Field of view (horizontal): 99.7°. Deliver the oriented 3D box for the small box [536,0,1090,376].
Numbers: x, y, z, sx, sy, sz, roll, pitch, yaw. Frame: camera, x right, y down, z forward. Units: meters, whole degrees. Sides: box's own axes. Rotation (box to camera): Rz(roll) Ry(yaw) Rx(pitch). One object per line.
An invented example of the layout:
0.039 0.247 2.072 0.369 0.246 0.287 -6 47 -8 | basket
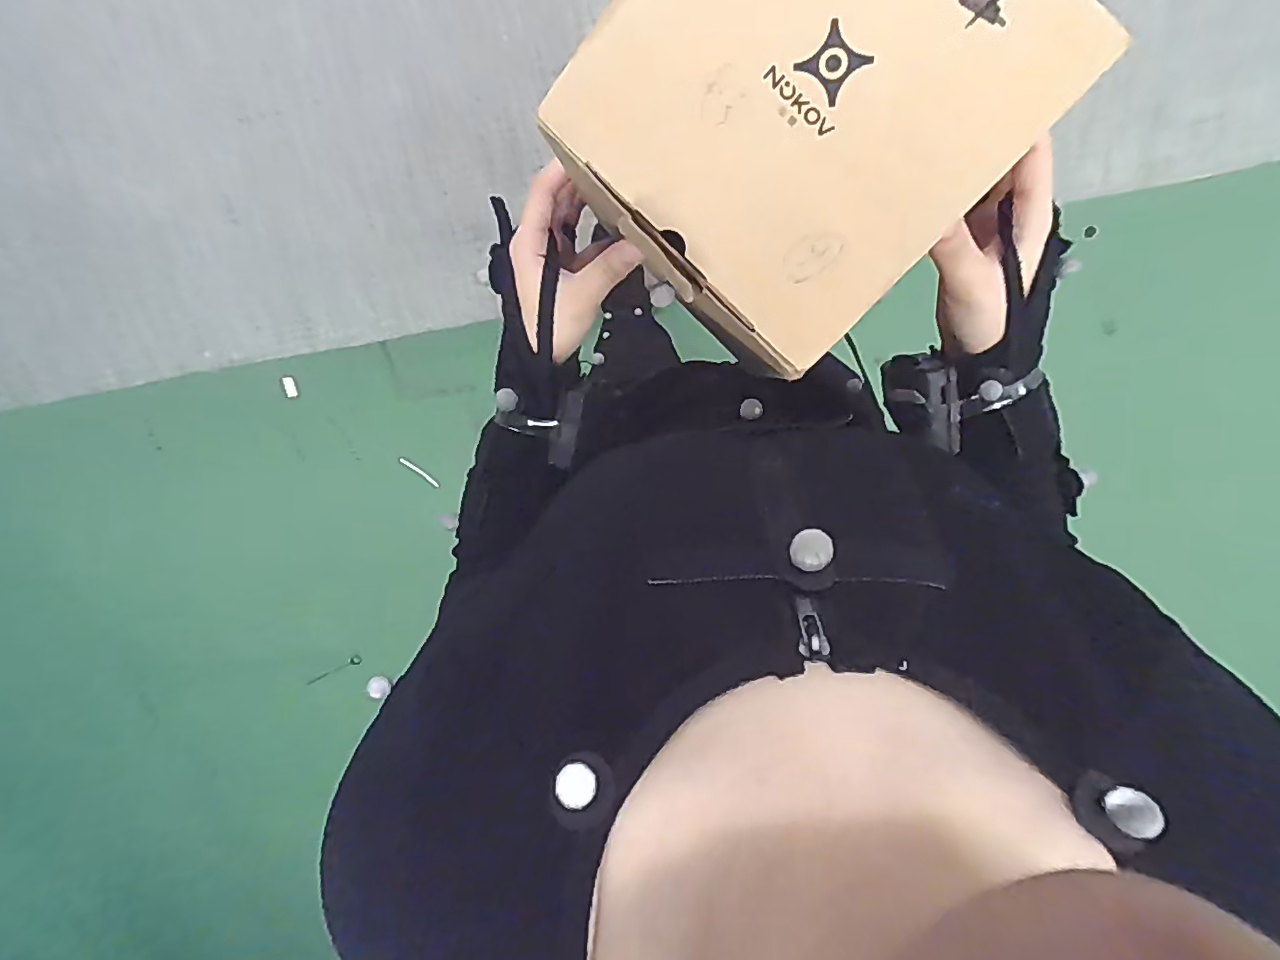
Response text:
0.077 -0.178 0.310 0.168 0.176 0.179 43 103 -3 | small box
